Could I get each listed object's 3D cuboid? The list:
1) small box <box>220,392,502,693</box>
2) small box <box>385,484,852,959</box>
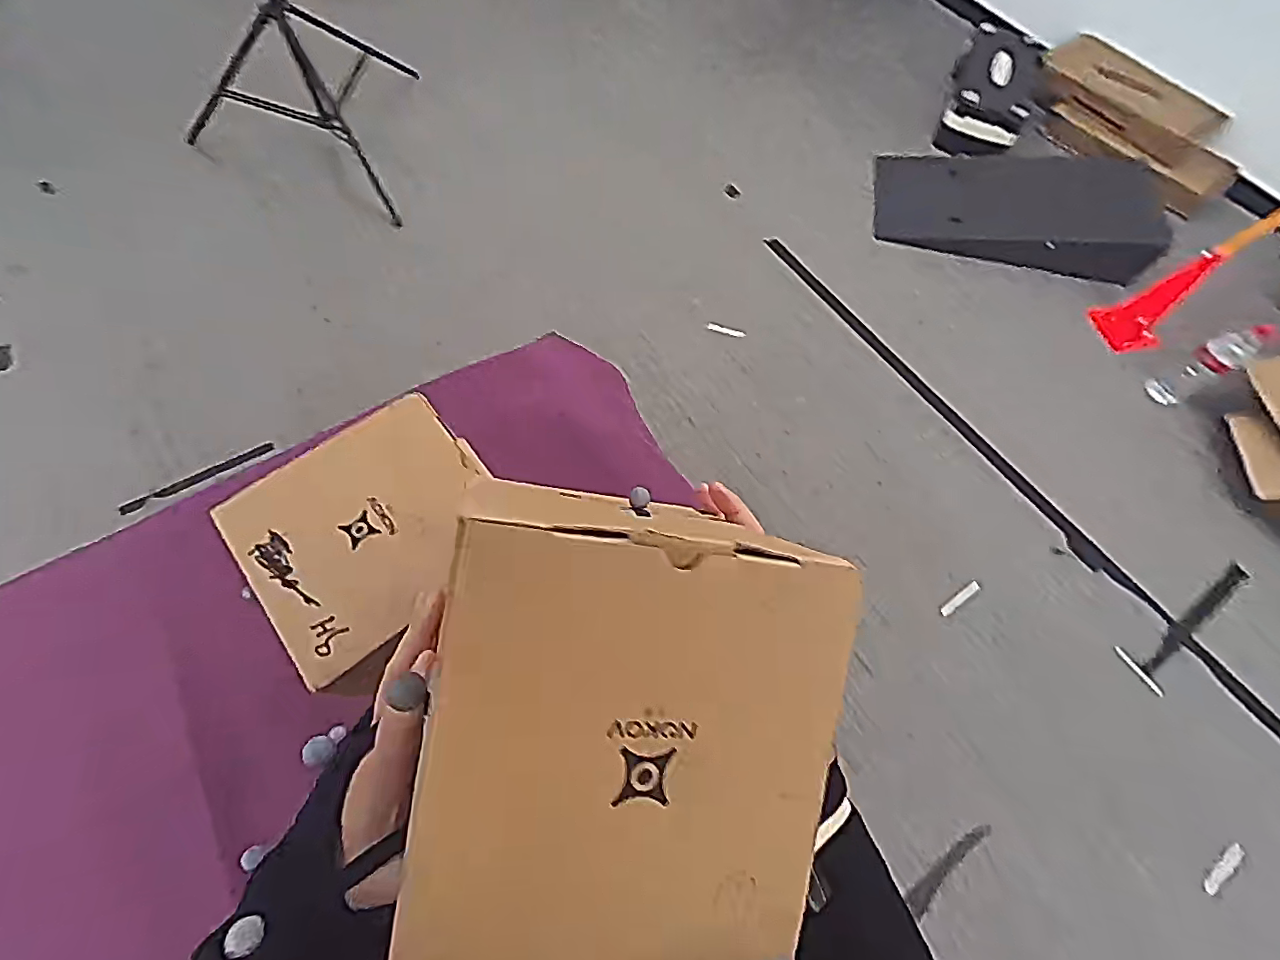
[{"bbox_3d":[-0.201,0.063,0.476,0.179,0.176,0.168,-36,72,-18],"label":"small box"},{"bbox_3d":[-0.020,0.102,0.290,0.168,0.176,0.179,9,90,-15],"label":"small box"}]
